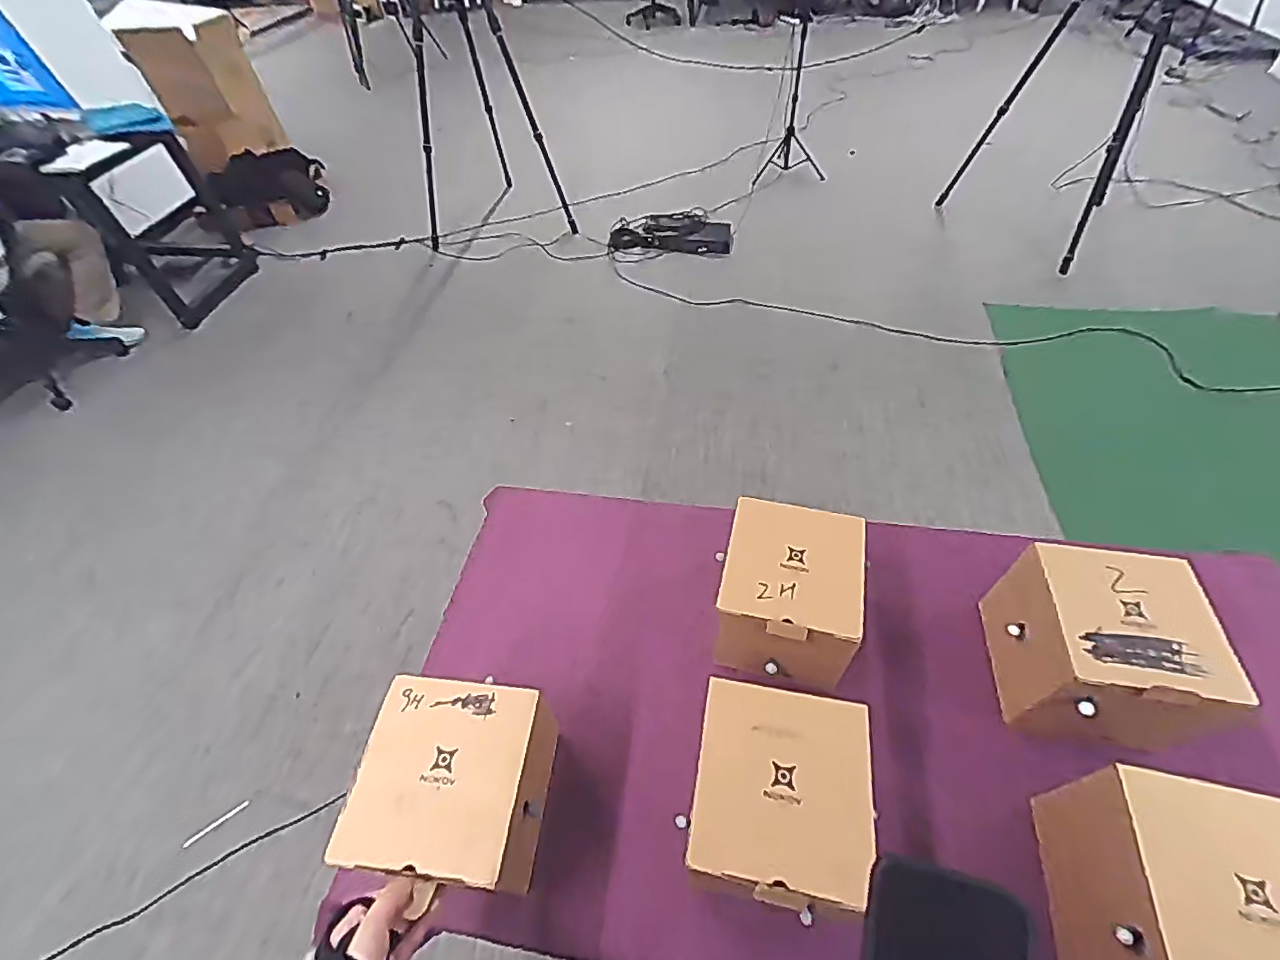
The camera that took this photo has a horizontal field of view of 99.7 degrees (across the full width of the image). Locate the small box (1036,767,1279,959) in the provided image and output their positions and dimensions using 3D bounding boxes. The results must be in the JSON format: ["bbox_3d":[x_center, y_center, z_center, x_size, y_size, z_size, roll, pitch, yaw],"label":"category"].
[{"bbox_3d":[0.507,0.398,0.502,0.168,0.176,0.179,8,52,12],"label":"small box"}]

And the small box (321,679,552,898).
[{"bbox_3d":[-0.200,0.343,0.597,0.168,0.176,0.179,6,52,4],"label":"small box"}]

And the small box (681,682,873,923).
[{"bbox_3d":[0.139,0.345,0.577,0.168,0.176,0.179,7,50,10],"label":"small box"}]

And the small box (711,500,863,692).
[{"bbox_3d":[0.191,0.156,0.728,0.168,0.176,0.179,10,52,13],"label":"small box"}]
